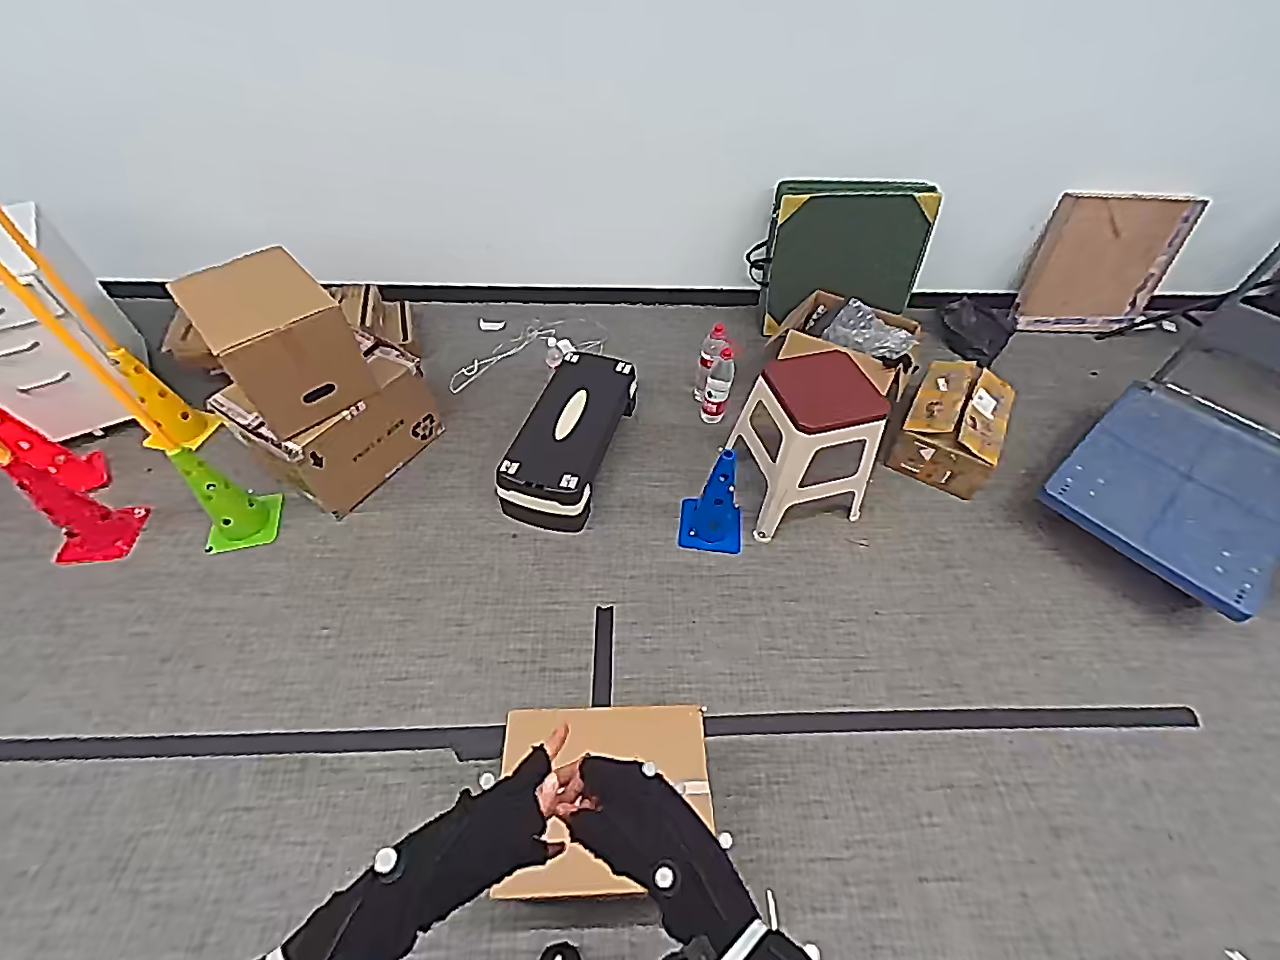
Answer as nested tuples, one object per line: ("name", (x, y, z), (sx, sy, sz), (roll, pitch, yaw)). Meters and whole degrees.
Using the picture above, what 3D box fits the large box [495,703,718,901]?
("large box", (-0.074, 0.691, 1.157), (0.408, 0.320, 0.320), (0, 52, -4))
